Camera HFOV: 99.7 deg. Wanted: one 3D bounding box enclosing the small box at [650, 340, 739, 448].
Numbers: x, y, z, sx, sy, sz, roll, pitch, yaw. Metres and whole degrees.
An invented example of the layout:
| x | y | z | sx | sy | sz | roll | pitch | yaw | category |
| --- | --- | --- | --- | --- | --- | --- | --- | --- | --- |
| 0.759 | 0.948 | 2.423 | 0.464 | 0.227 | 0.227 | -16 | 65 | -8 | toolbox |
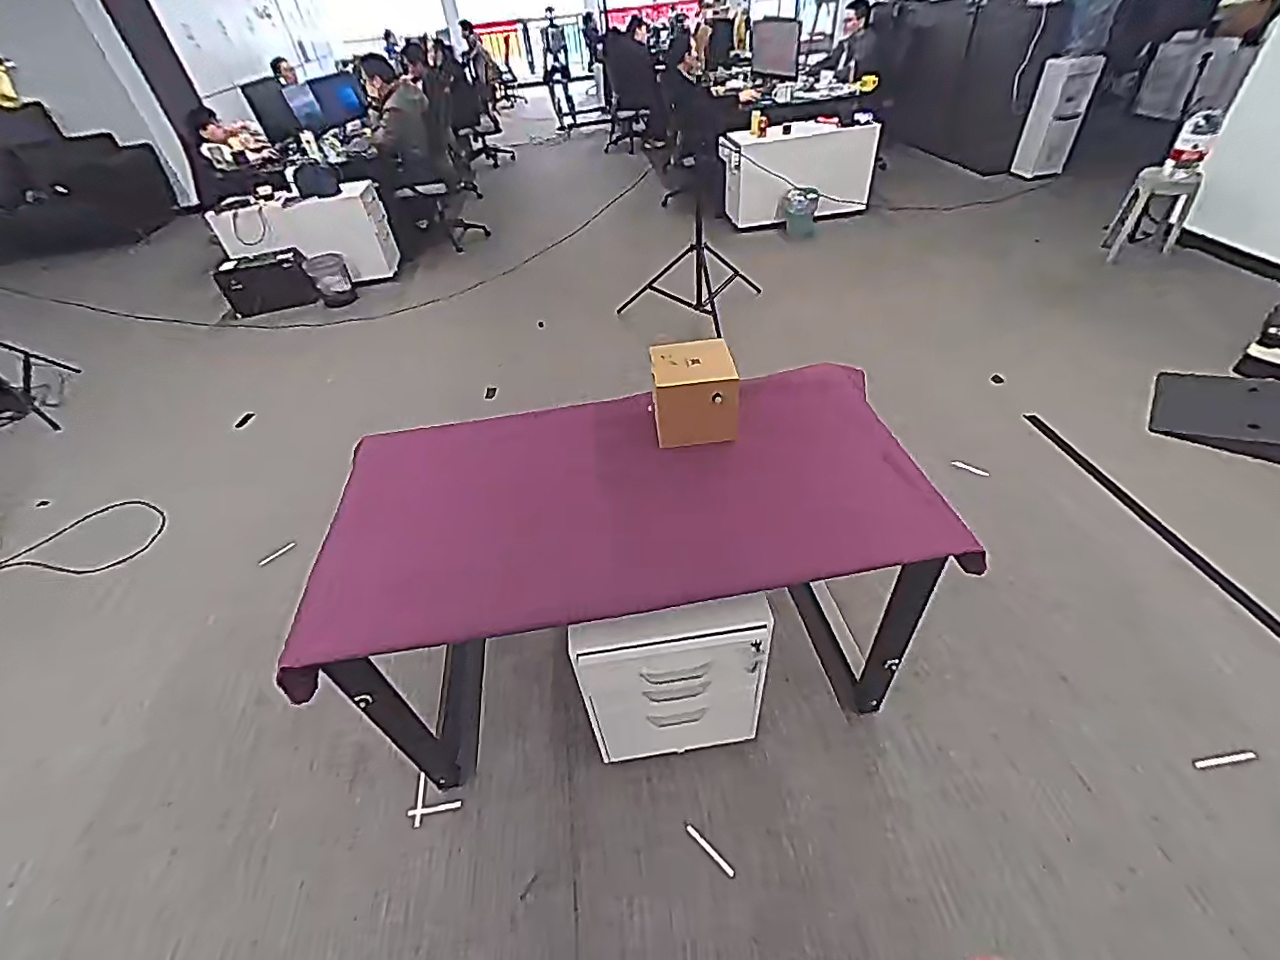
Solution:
| x | y | z | sx | sy | sz | roll | pitch | yaw | category |
| --- | --- | --- | --- | --- | --- | --- | --- | --- | --- |
| 0.119 | -0.191 | 1.217 | 0.179 | 0.176 | 0.168 | -7 | 43 | 1 | small box |
